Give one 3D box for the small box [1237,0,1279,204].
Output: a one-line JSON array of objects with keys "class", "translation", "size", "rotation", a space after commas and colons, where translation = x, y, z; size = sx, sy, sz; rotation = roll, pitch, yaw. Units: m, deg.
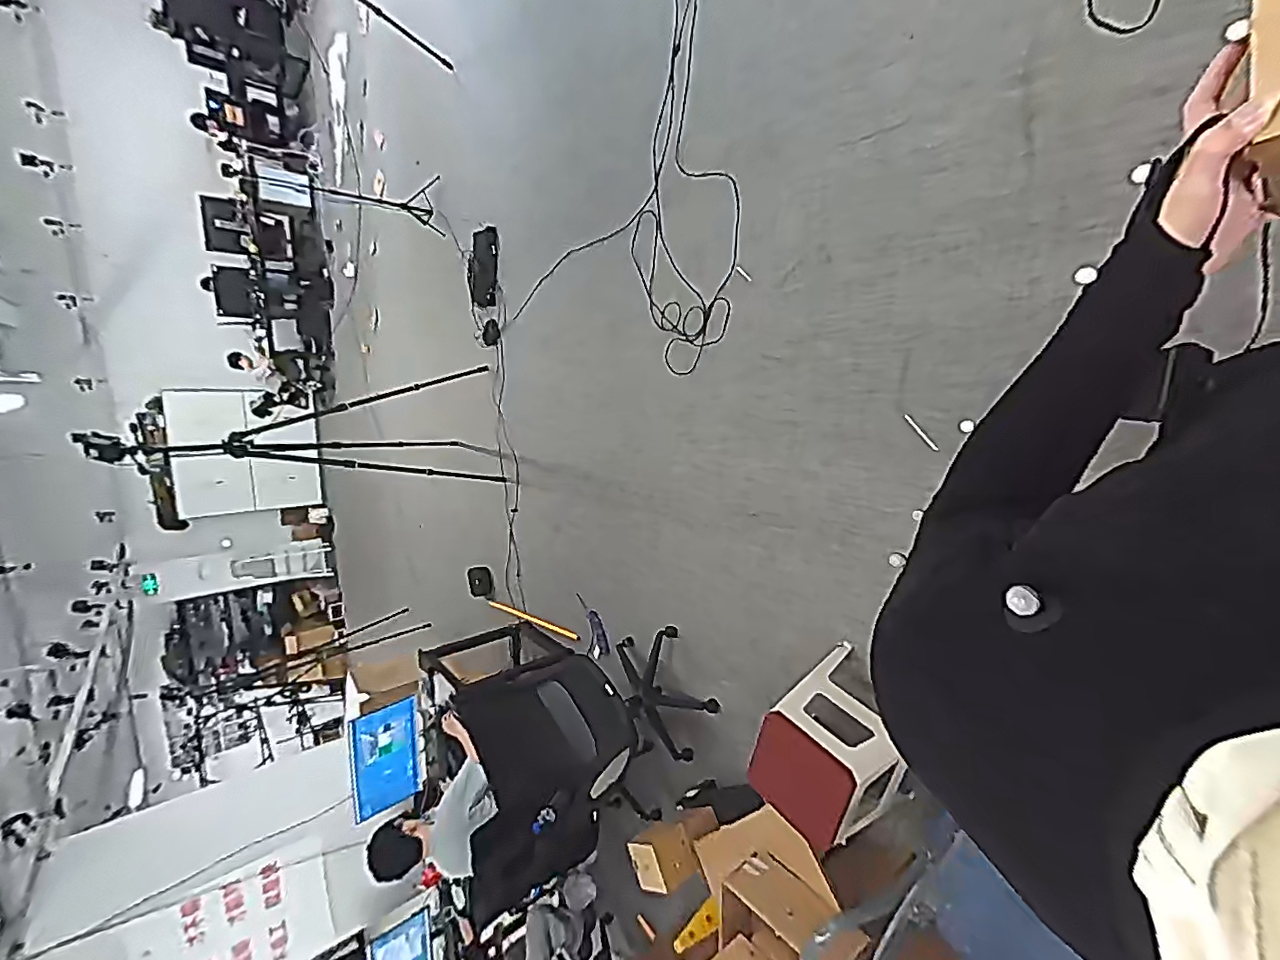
[{"class": "small box", "translation": [0.504, -0.300, 0.333], "size": [0.168, 0.176, 0.179], "rotation": [3, 93, 54]}]
